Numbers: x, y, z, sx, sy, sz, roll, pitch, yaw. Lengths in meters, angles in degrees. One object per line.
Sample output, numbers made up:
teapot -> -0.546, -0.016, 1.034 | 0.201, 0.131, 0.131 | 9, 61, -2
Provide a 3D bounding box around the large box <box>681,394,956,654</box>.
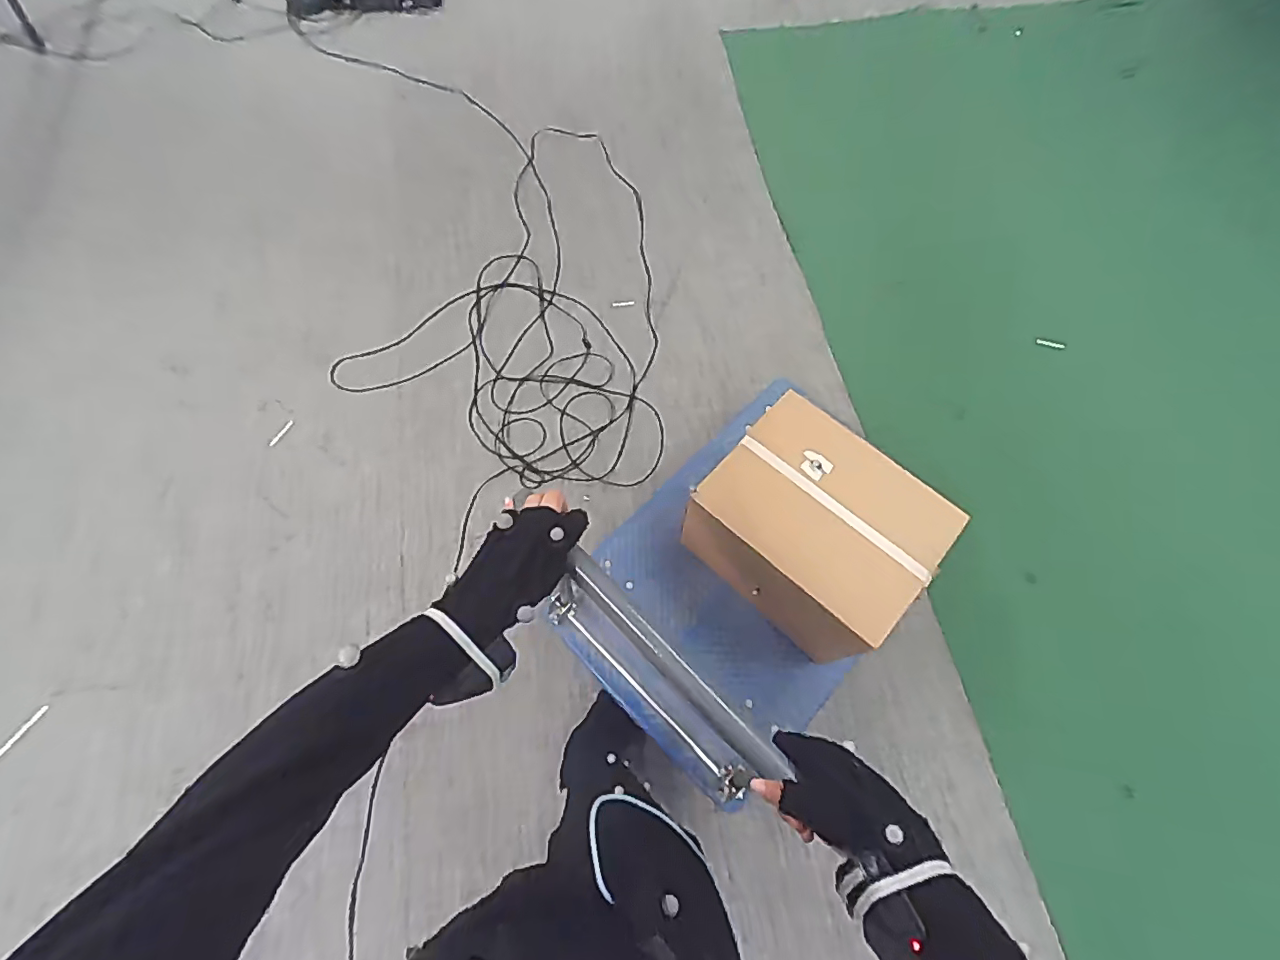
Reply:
large box -> 0.338, 0.105, 1.135 | 0.408, 0.320, 0.320 | 39, 72, 16
